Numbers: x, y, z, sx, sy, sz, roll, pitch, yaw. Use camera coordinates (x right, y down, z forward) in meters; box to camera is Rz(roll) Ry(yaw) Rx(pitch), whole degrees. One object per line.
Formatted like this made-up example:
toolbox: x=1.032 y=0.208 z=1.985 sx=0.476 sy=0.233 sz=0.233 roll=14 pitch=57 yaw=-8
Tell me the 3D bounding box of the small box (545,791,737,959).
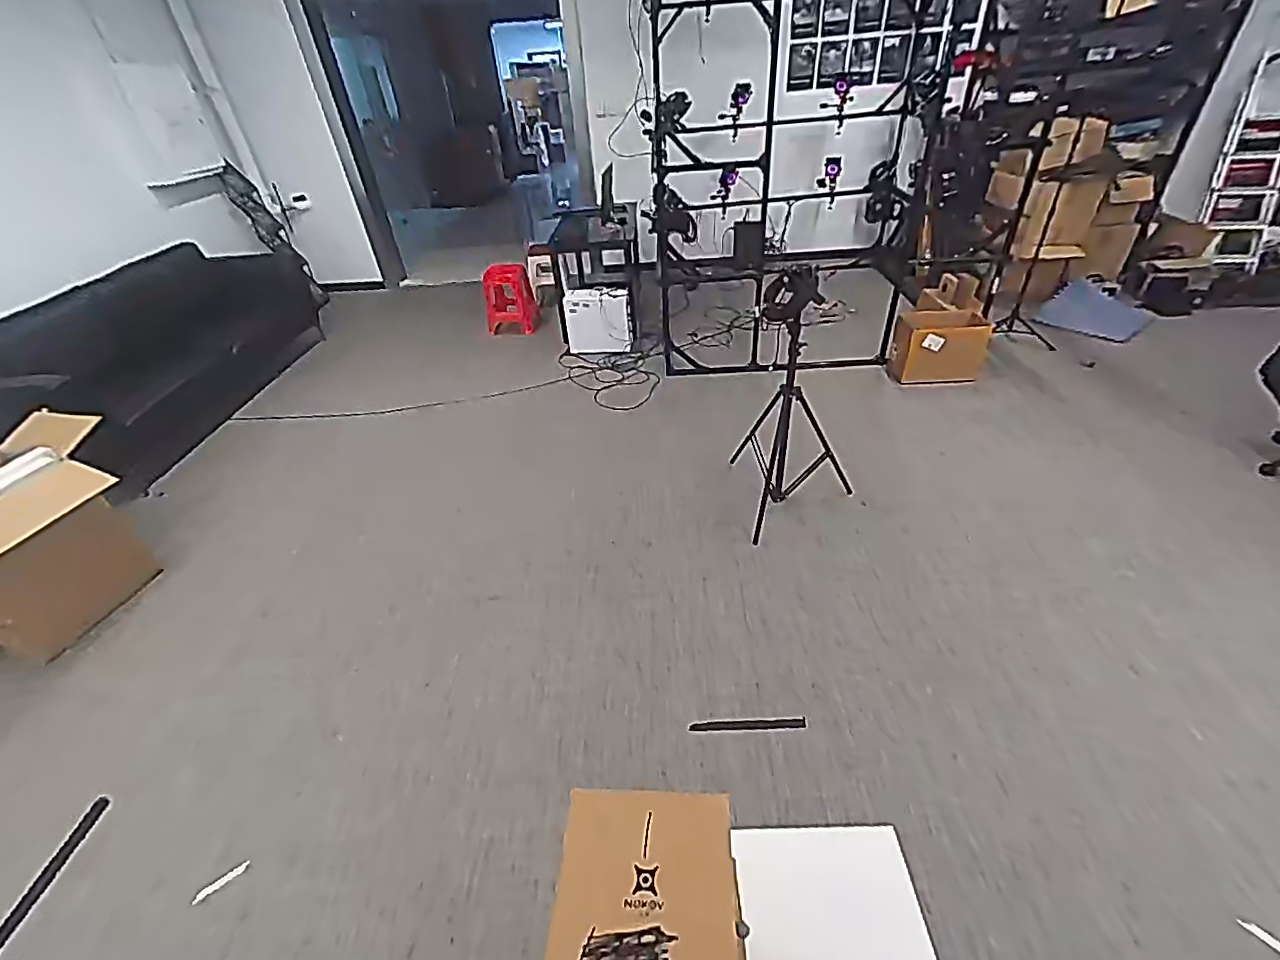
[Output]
small box: x=0.011 y=0.441 z=0.537 sx=0.168 sy=0.176 sz=0.179 roll=-1 pitch=36 yaw=6
